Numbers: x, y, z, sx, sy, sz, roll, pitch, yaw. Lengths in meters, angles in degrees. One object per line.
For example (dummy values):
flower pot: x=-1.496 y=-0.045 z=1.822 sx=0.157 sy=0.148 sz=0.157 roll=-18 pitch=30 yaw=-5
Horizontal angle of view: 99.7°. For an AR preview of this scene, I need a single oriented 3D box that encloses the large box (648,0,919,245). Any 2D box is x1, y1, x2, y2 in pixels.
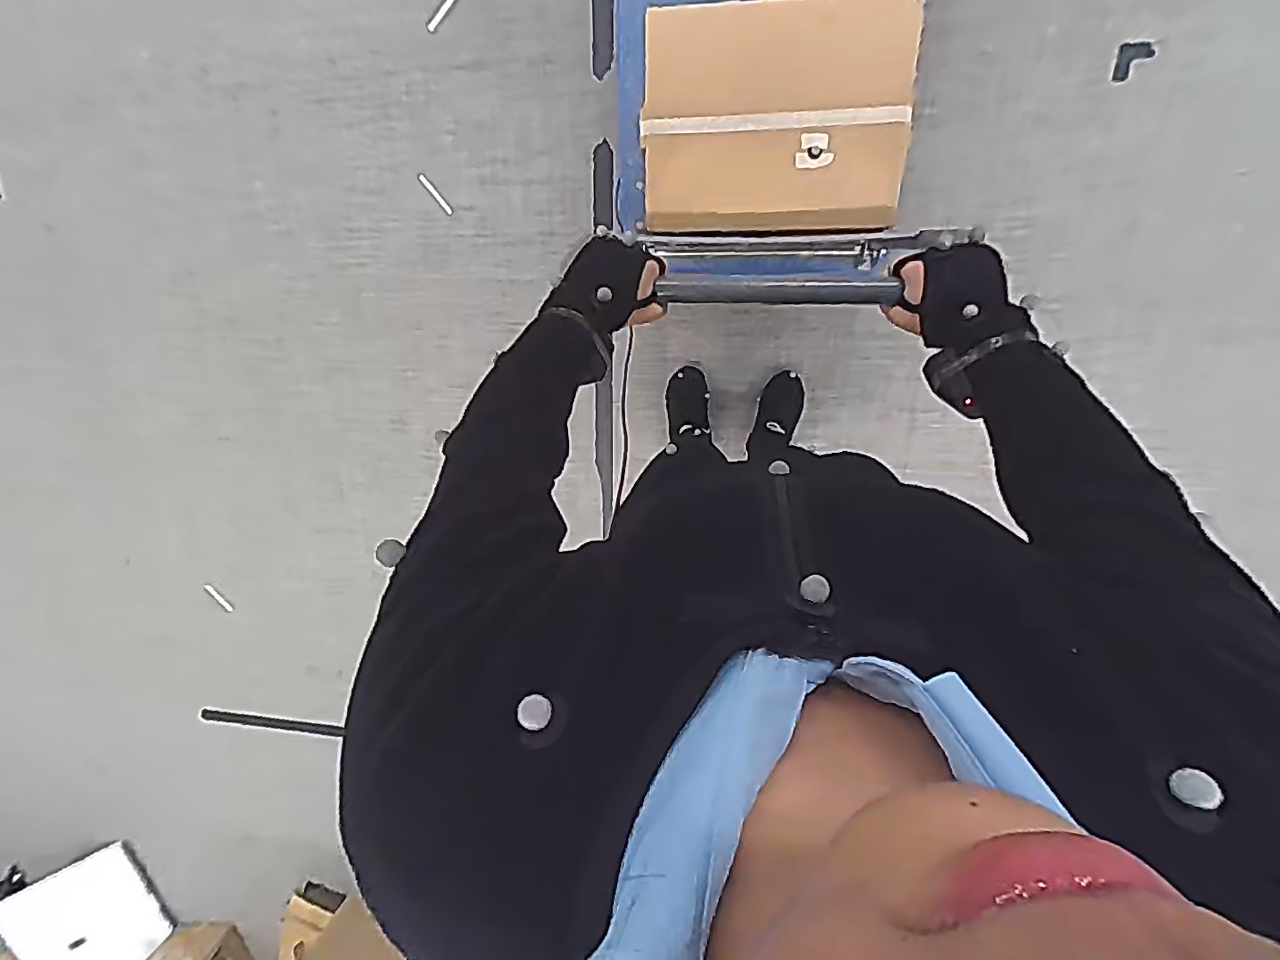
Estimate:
large box: x=0.231 y=-0.618 z=0.996 sx=0.408 sy=0.320 sz=0.320 roll=2 pitch=110 yaw=8
